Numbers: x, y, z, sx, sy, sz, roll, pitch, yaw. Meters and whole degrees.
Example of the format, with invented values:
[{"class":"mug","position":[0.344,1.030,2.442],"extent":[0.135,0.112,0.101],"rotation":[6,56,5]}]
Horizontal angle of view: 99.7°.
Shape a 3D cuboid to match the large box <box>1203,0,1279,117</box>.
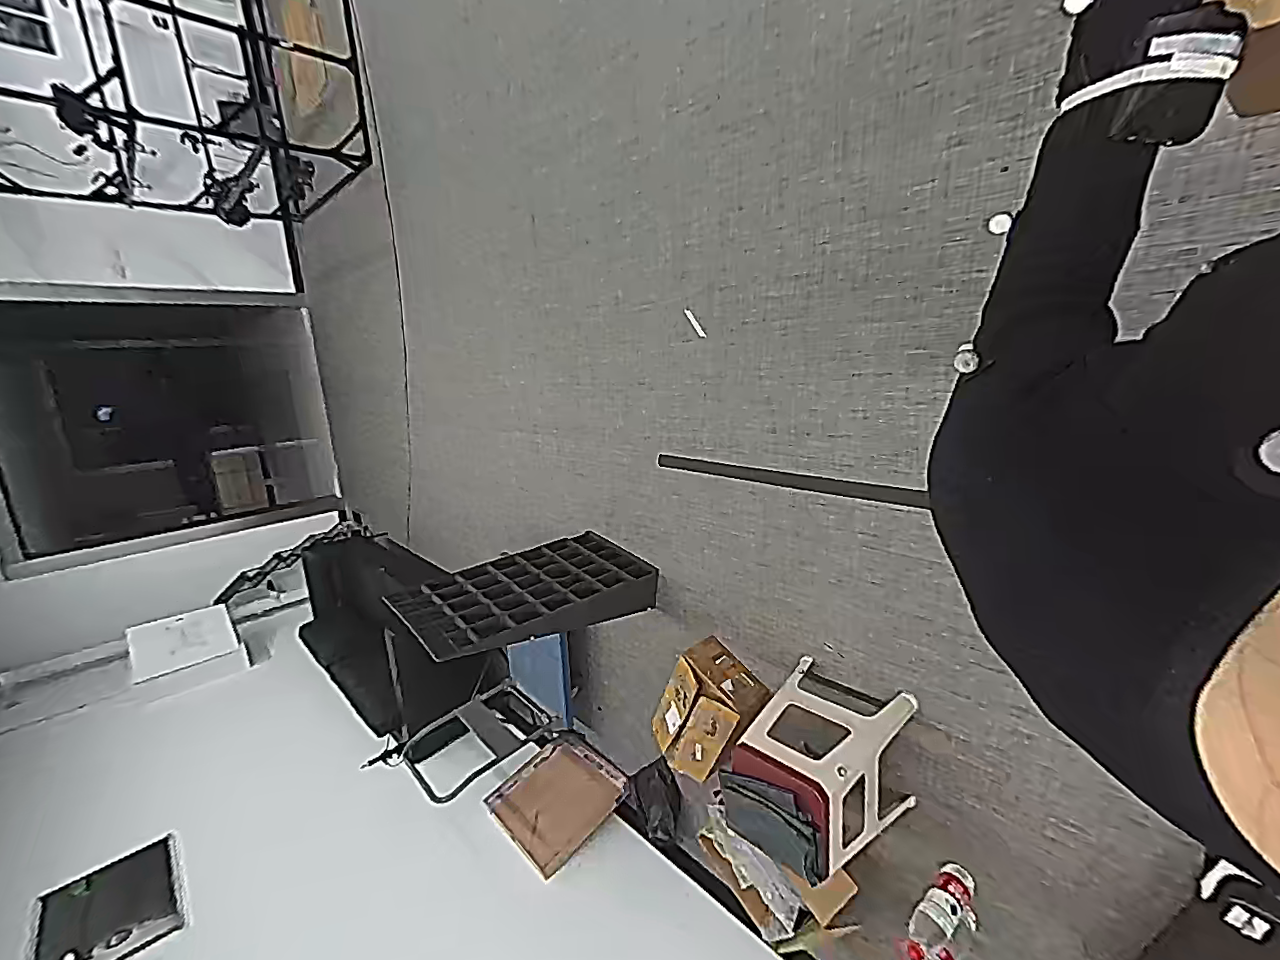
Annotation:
[{"class":"large box","position":[0.592,-0.432,0.256],"extent":[0.408,0.320,0.320],"rotation":[15,116,47]}]
